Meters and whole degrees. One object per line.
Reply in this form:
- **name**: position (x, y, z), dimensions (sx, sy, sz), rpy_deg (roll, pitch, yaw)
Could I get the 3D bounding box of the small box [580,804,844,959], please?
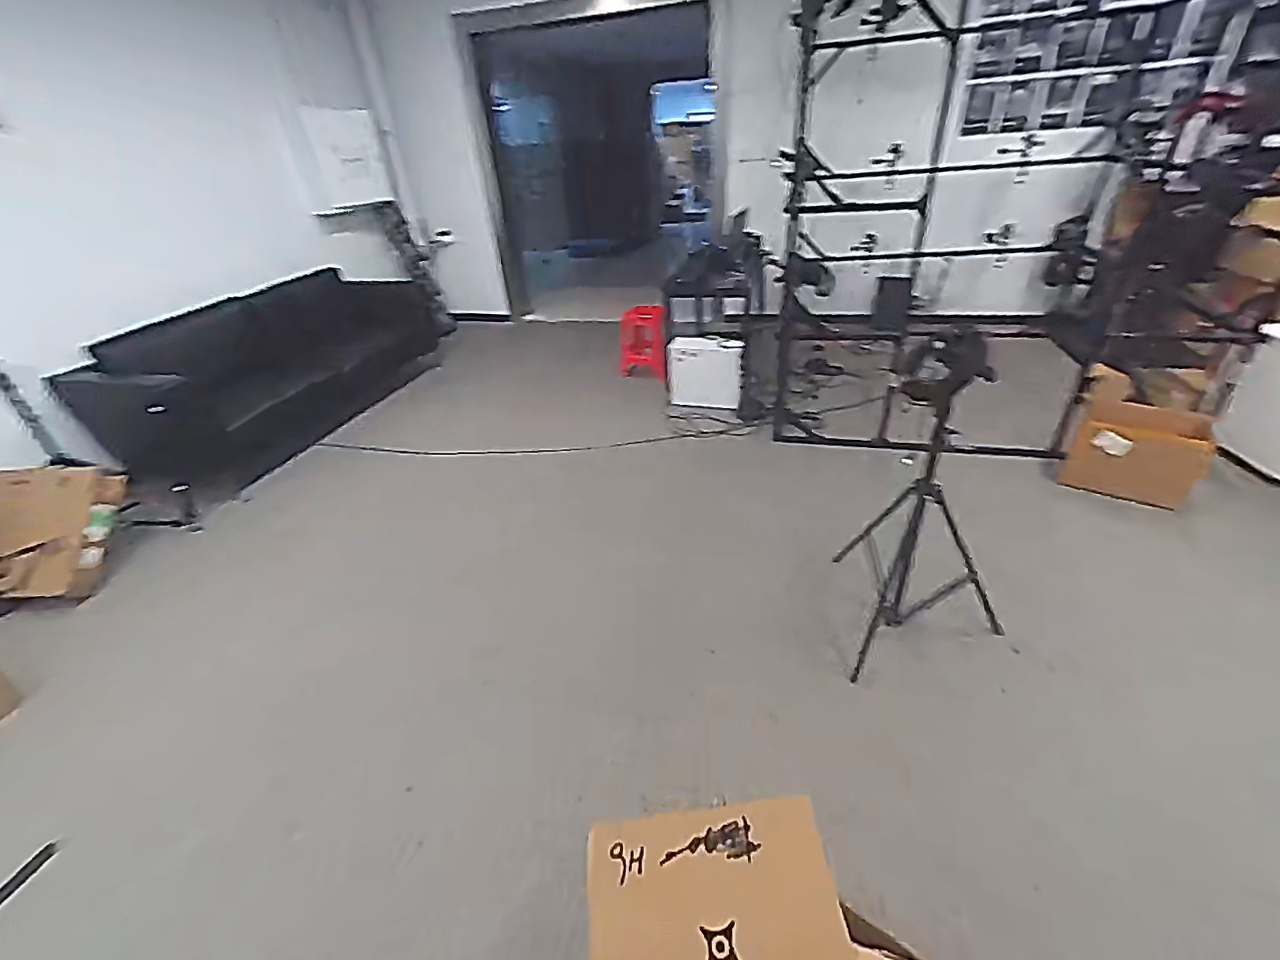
- **small box**: position (0.054, 0.364, 0.387), dimensions (0.168, 0.176, 0.179), rpy_deg (-8, 43, -2)
